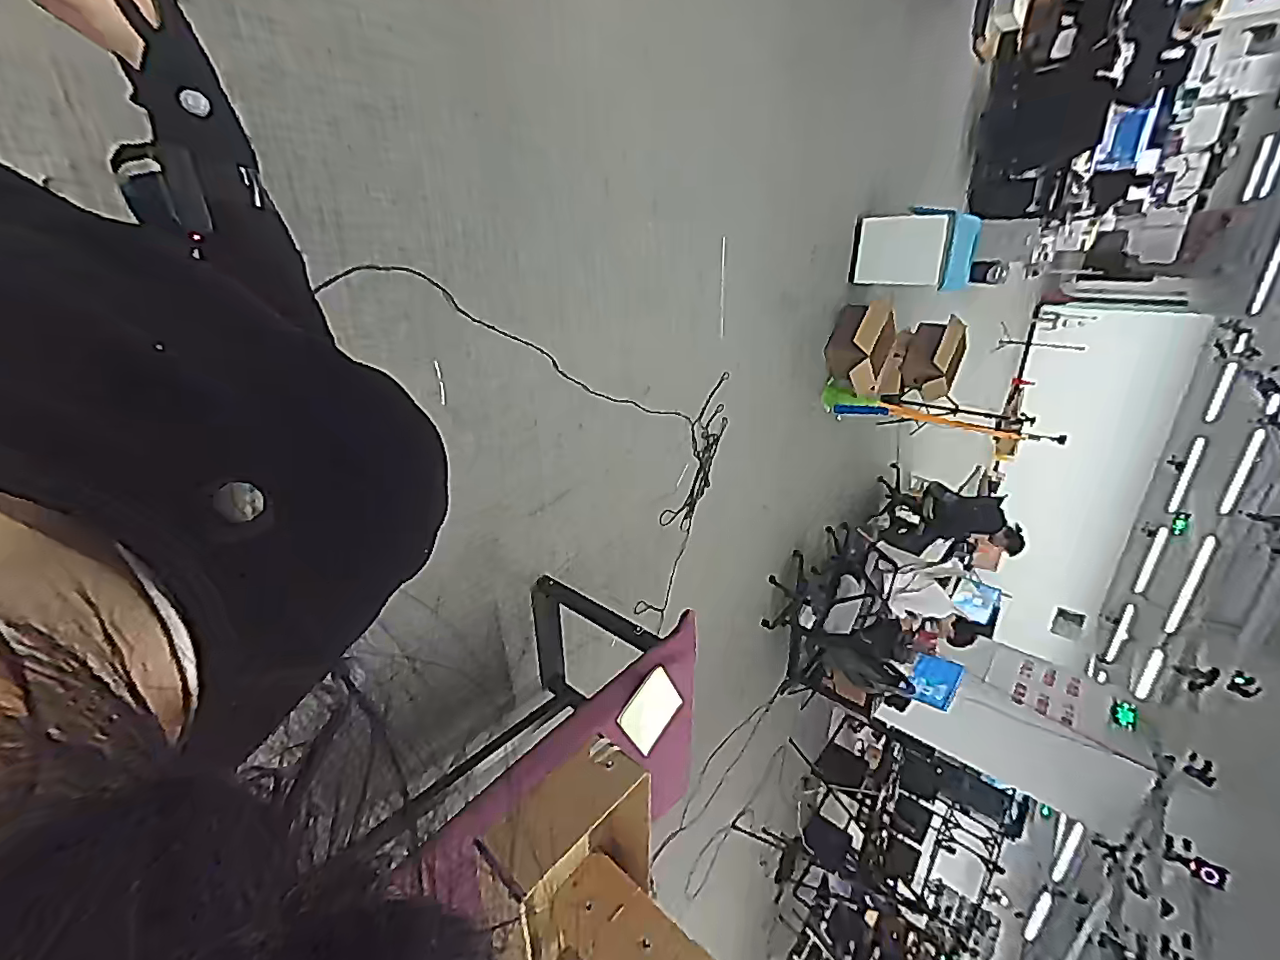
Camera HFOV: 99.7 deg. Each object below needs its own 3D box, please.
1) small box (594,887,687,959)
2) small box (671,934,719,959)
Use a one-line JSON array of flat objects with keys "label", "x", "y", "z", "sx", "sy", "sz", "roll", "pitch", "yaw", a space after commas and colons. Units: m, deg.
[{"label": "small box", "x": -0.001, "y": 1.171, "z": 1.328, "sx": 0.179, "sy": 0.176, "sz": 0.168, "roll": -28, "pitch": 124, "yaw": -43}, {"label": "small box", "x": 0.125, "y": 1.212, "z": 1.231, "sx": 0.179, "sy": 0.176, "sz": 0.168, "roll": -24, "pitch": 122, "yaw": -43}]
